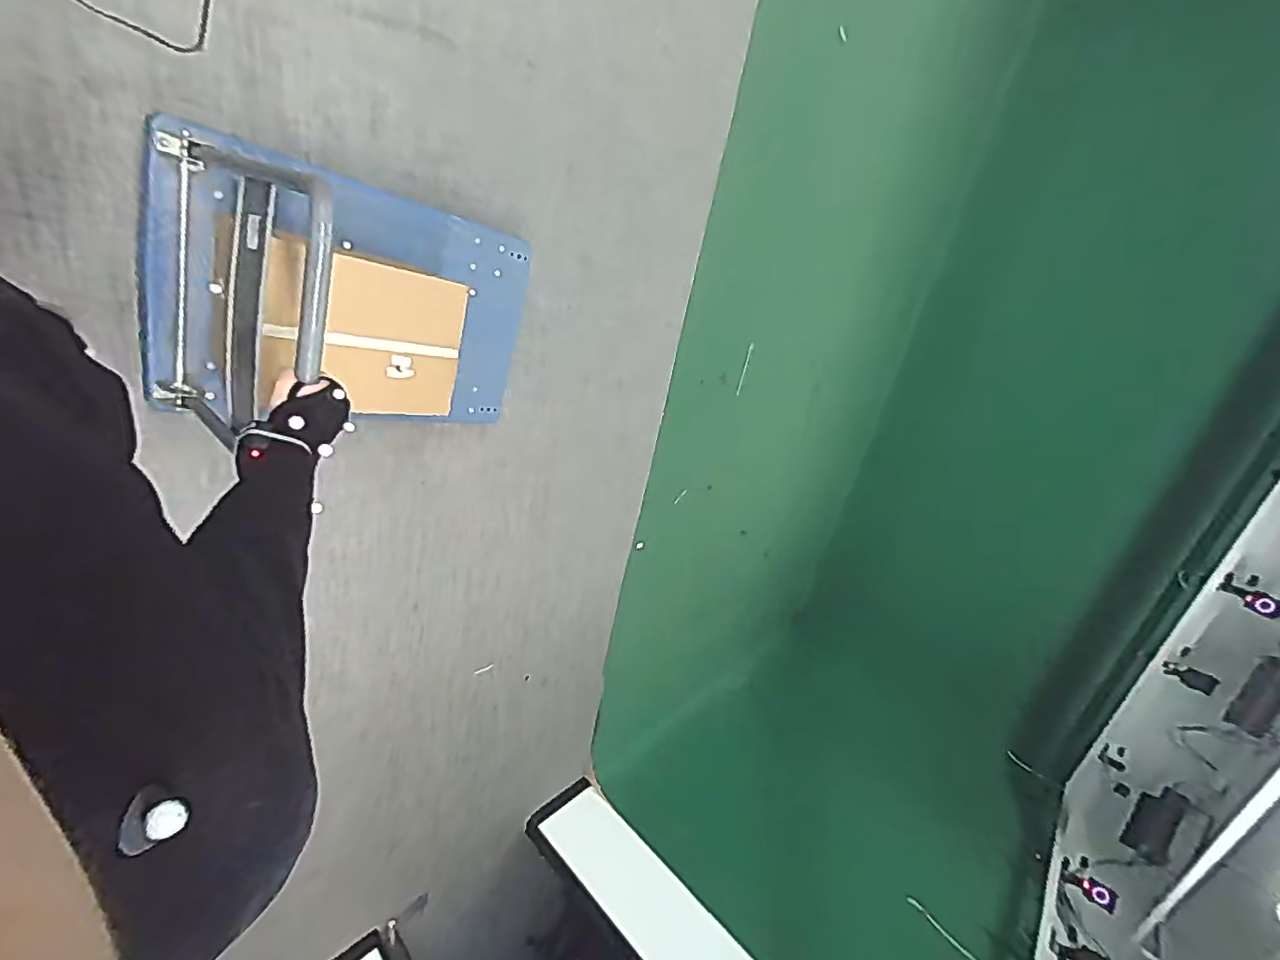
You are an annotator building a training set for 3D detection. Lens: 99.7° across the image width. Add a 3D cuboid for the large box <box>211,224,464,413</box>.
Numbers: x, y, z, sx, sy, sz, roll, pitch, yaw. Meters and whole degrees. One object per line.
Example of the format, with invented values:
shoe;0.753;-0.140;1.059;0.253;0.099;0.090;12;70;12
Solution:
large box;-0.671;-0.345;1.203;0.408;0.320;0.320;-6;118;-50
